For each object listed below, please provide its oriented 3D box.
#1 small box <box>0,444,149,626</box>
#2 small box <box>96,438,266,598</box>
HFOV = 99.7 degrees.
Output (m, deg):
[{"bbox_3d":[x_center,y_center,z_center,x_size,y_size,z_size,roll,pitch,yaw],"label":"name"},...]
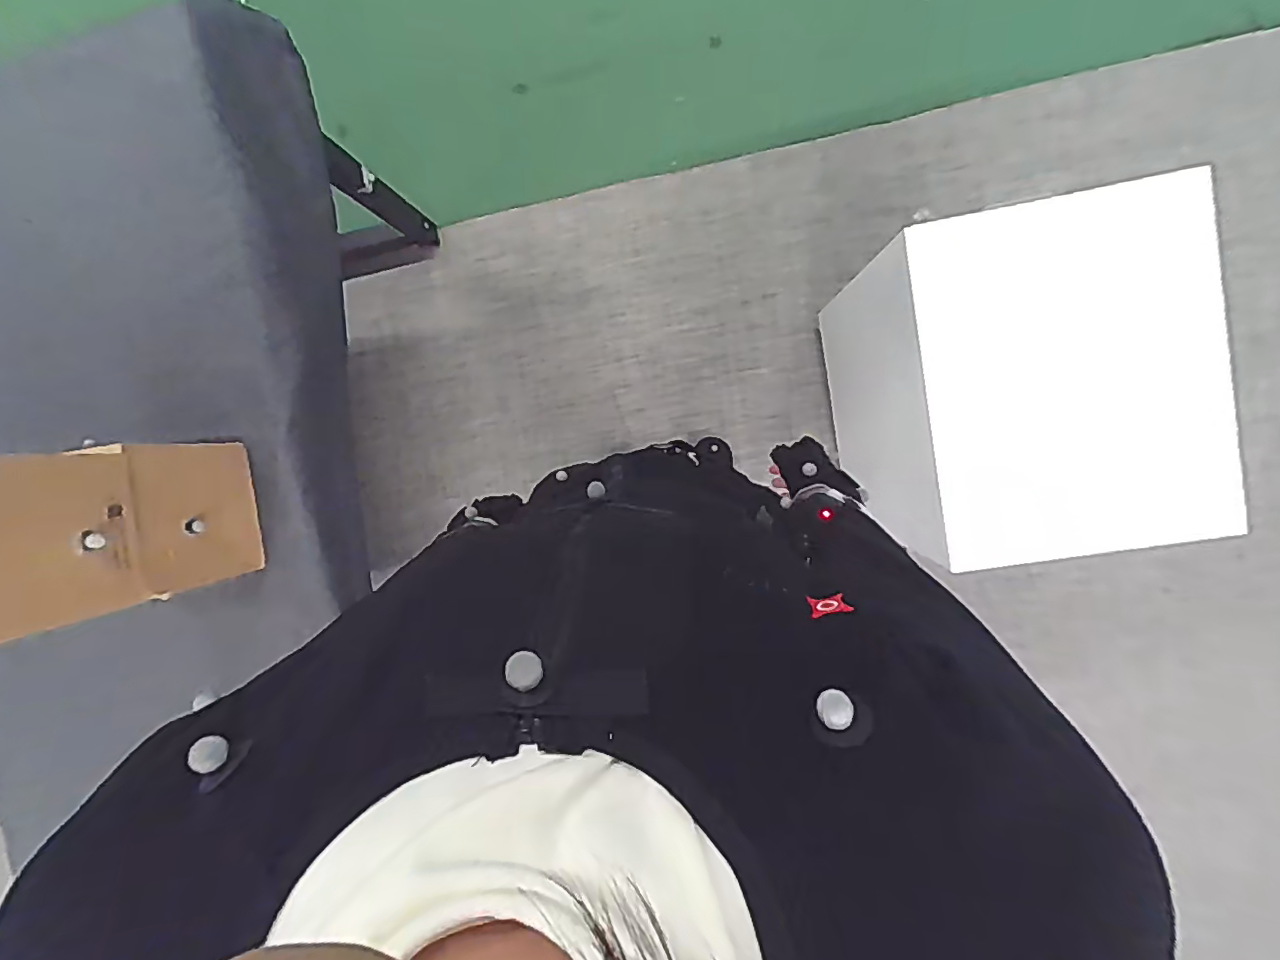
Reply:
[{"bbox_3d":[-0.645,0.056,0.528,0.179,0.176,0.168,-7,93,9],"label":"small box"},{"bbox_3d":[-0.620,0.043,0.691,0.168,0.176,0.179,-7,94,7],"label":"small box"}]
